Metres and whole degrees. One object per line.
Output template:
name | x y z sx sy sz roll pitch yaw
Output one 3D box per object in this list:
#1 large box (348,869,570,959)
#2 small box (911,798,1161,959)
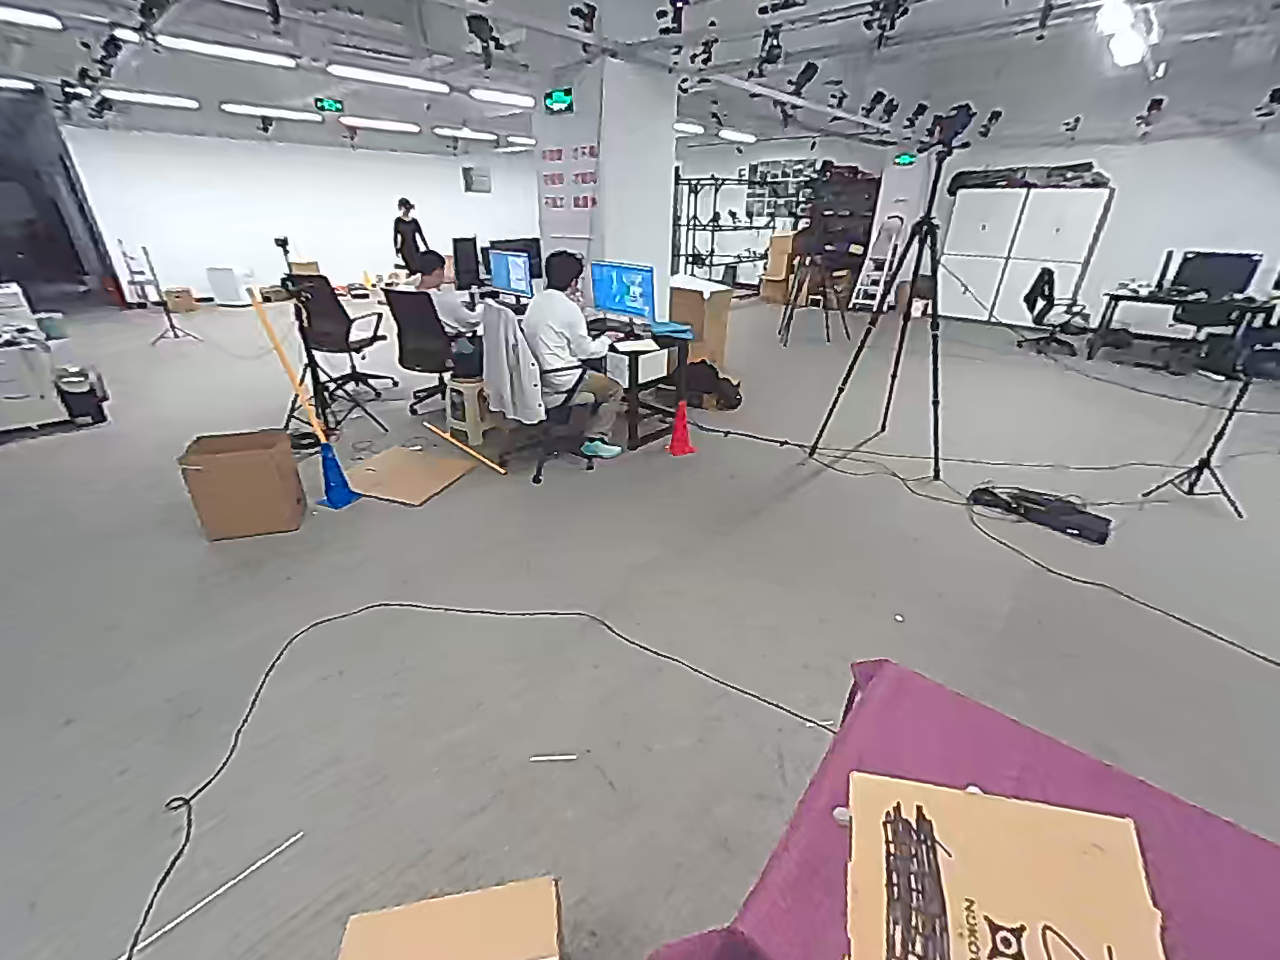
large box | -0.334 1.036 1.036 0.408 0.320 0.320 -4 28 -11
small box | 0.430 0.519 0.606 0.179 0.176 0.168 23 35 39
